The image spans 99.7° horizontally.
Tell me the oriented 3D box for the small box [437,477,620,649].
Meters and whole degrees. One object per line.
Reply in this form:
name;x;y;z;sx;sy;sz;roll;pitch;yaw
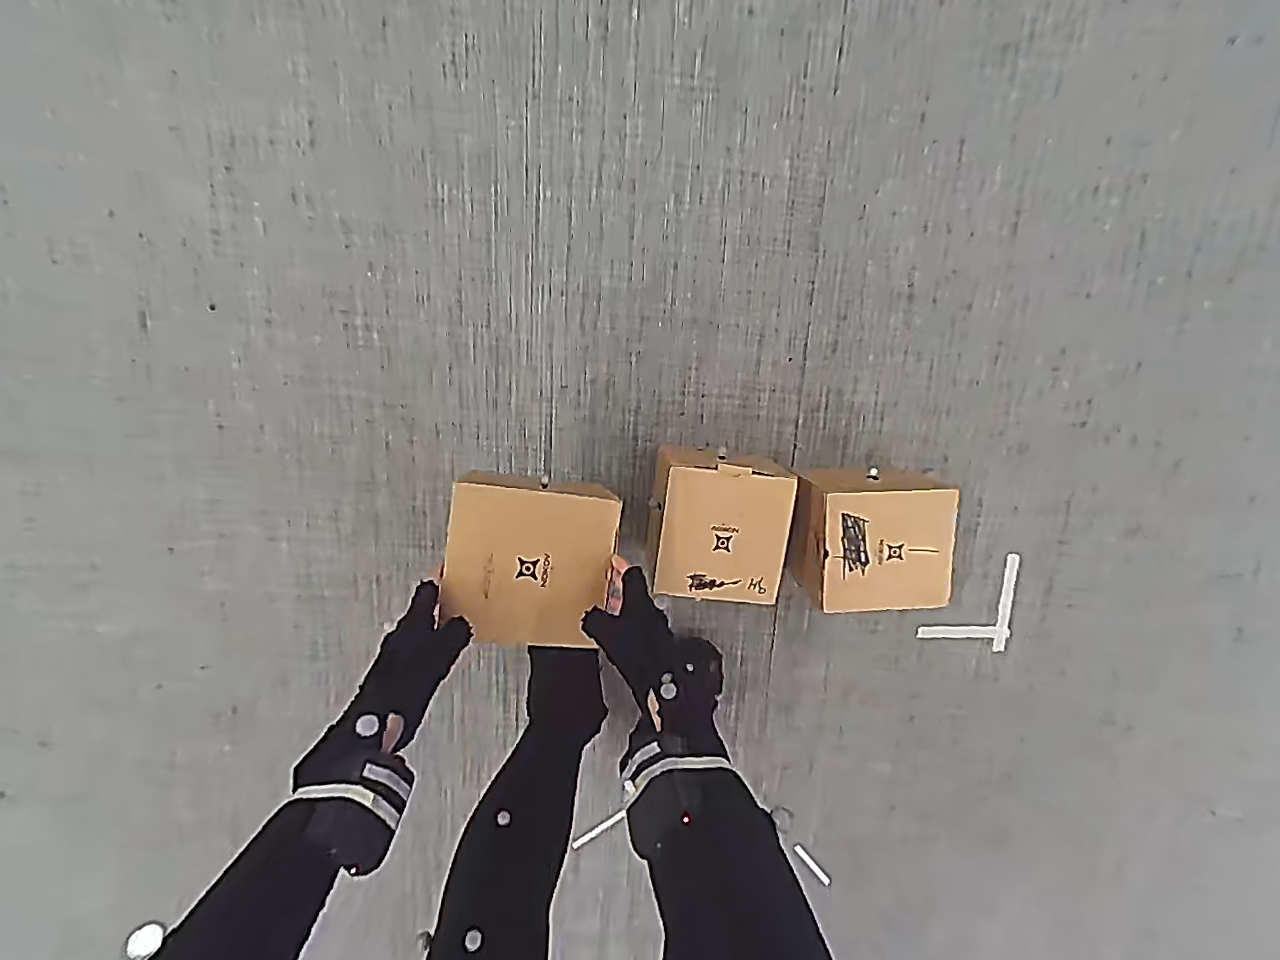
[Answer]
small box;-0.132;0.089;0.649;0.179;0.176;0.168;6;93;-12

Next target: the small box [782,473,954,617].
small box;0.314;0.086;0.783;0.179;0.176;0.168;-2;101;-3
